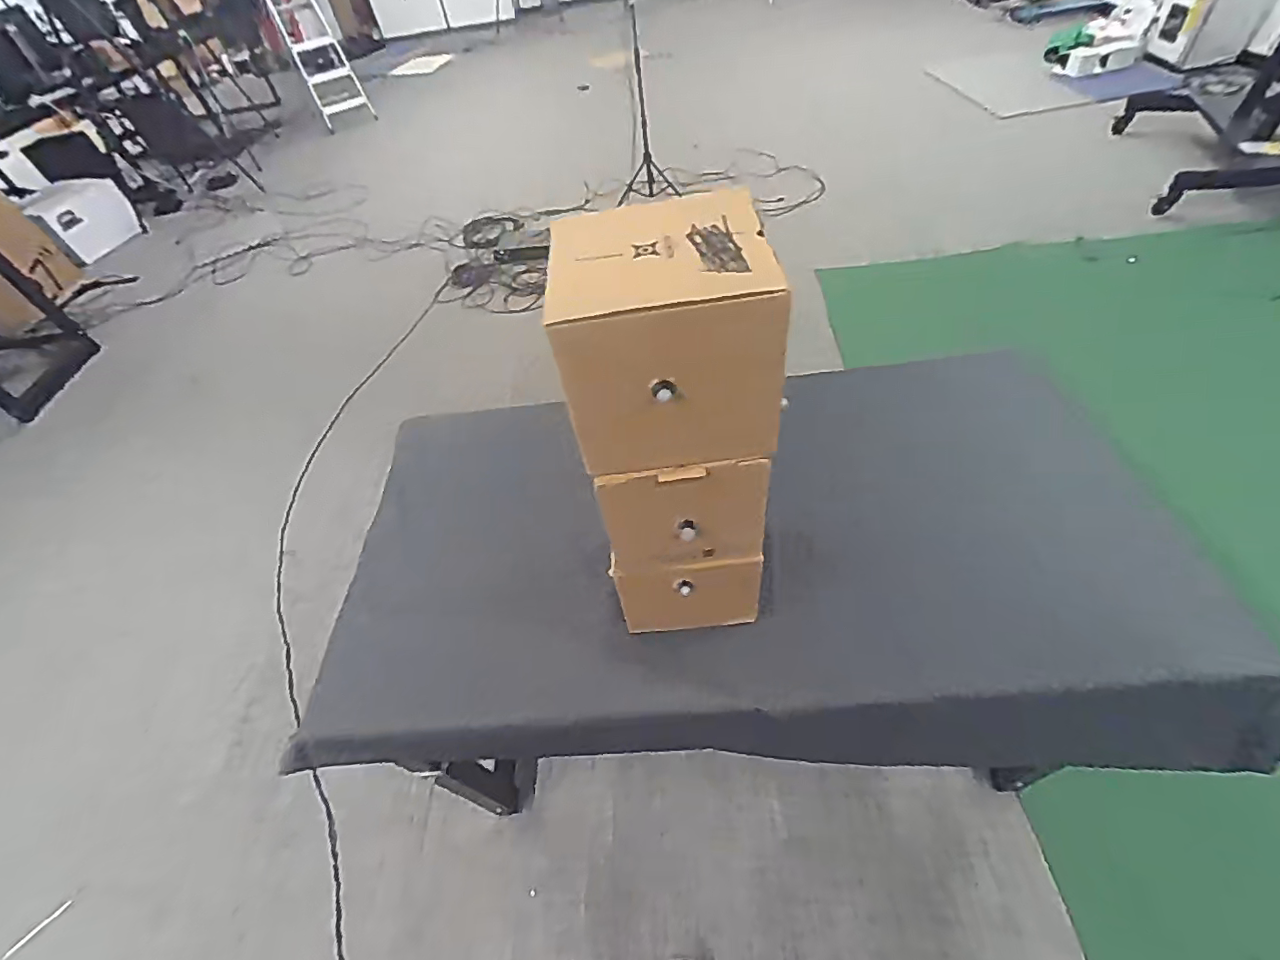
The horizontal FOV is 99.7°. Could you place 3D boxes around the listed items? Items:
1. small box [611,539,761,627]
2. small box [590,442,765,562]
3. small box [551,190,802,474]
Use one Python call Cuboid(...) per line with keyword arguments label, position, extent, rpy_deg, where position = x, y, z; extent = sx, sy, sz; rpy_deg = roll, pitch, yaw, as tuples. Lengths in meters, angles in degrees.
Cuboid(label="small box", position=(0.059, 0.086, 0.727), extent=(0.179, 0.176, 0.168), rpy_deg=(-6, 51, 3))
Cuboid(label="small box", position=(0.040, -0.021, 0.606), extent=(0.168, 0.176, 0.179), rpy_deg=(-7, 51, 3))
Cuboid(label="small box", position=(0.025, -0.125, 0.479), extent=(0.179, 0.176, 0.168), rpy_deg=(-8, 50, 1))
